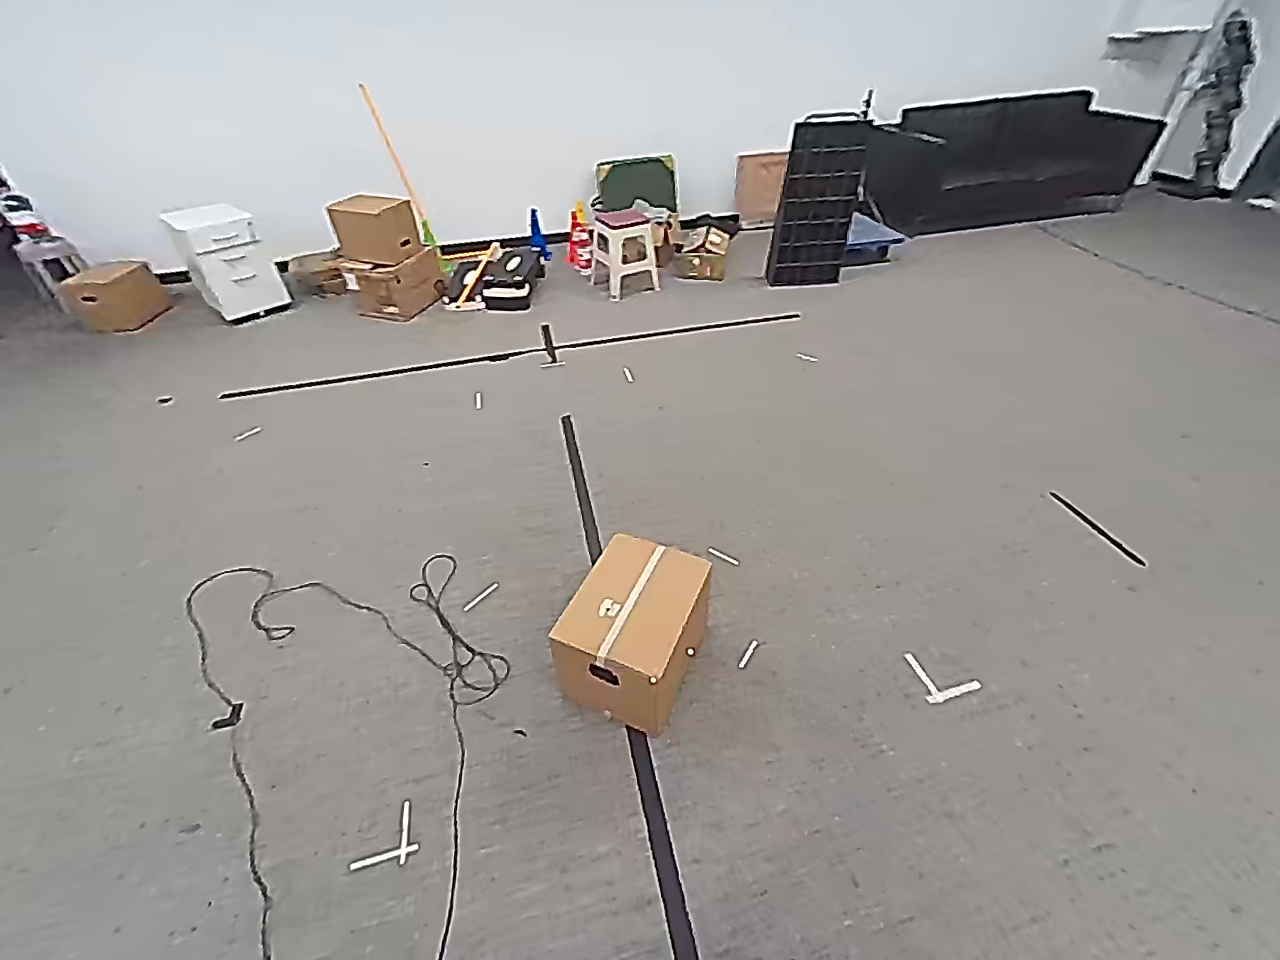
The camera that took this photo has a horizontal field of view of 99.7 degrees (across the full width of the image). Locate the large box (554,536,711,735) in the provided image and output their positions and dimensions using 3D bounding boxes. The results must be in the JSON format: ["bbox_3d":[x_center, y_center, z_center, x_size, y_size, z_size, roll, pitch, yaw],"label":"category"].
[{"bbox_3d":[-0.005,0.440,1.574,0.320,0.320,0.408,15,44,19],"label":"large box"}]
